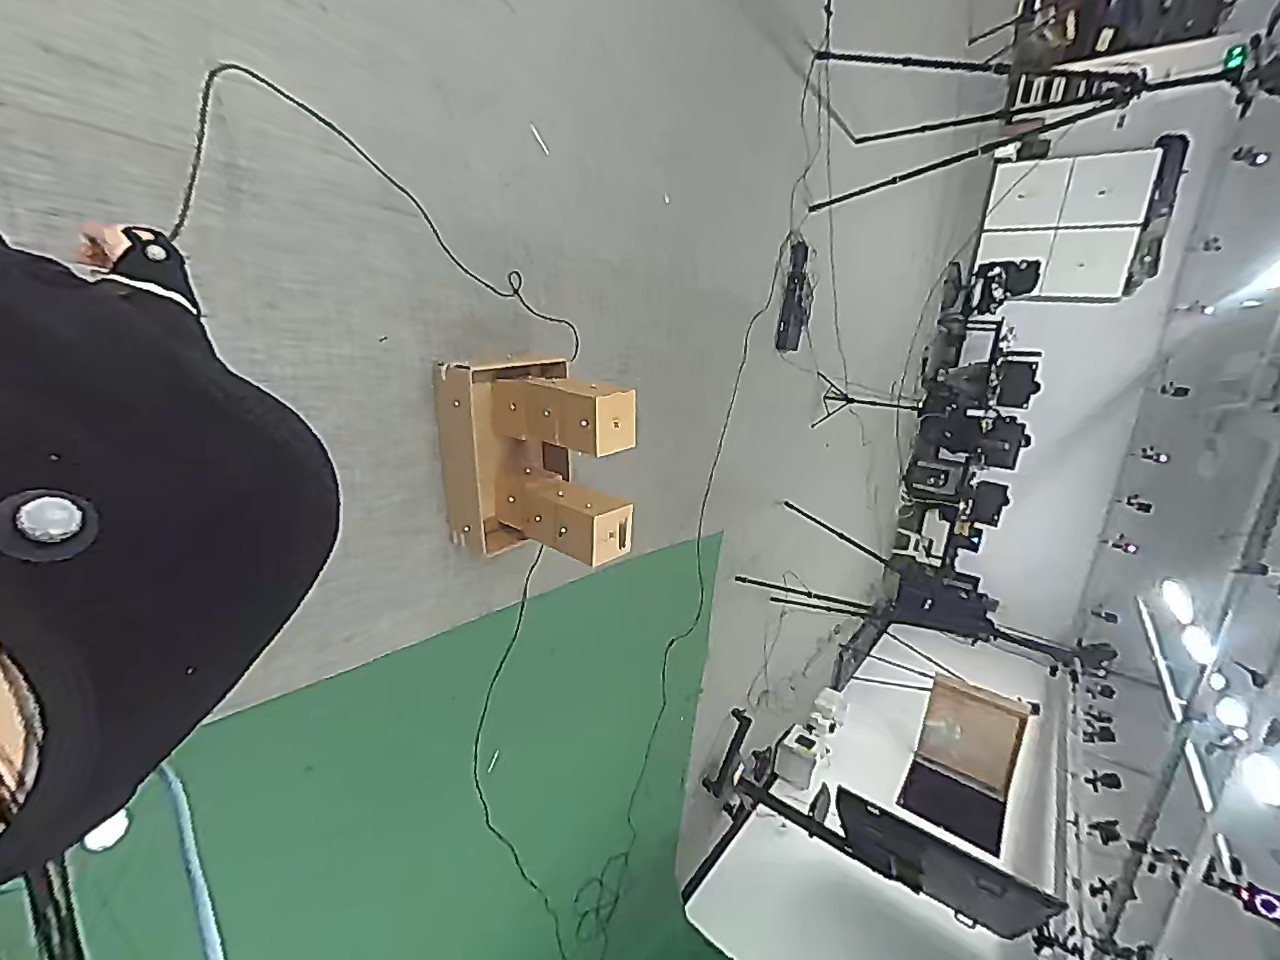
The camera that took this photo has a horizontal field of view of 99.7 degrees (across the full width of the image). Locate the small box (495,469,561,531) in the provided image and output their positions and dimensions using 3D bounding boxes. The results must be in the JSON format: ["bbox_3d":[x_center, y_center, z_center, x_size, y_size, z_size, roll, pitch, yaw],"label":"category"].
[{"bbox_3d":[-0.395,0.065,1.900,0.168,0.176,0.179,-16,114,-49],"label":"small box"}]

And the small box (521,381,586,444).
[{"bbox_3d":[-0.259,-0.219,1.700,0.168,0.176,0.179,-15,115,-48],"label":"small box"}]

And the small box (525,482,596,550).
[{"bbox_3d":[-0.269,0.114,1.805,0.179,0.176,0.168,-16,116,-50],"label":"small box"}]

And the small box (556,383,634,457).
[{"bbox_3d":[-0.134,-0.183,1.603,0.168,0.176,0.179,-21,118,-45],"label":"small box"}]
